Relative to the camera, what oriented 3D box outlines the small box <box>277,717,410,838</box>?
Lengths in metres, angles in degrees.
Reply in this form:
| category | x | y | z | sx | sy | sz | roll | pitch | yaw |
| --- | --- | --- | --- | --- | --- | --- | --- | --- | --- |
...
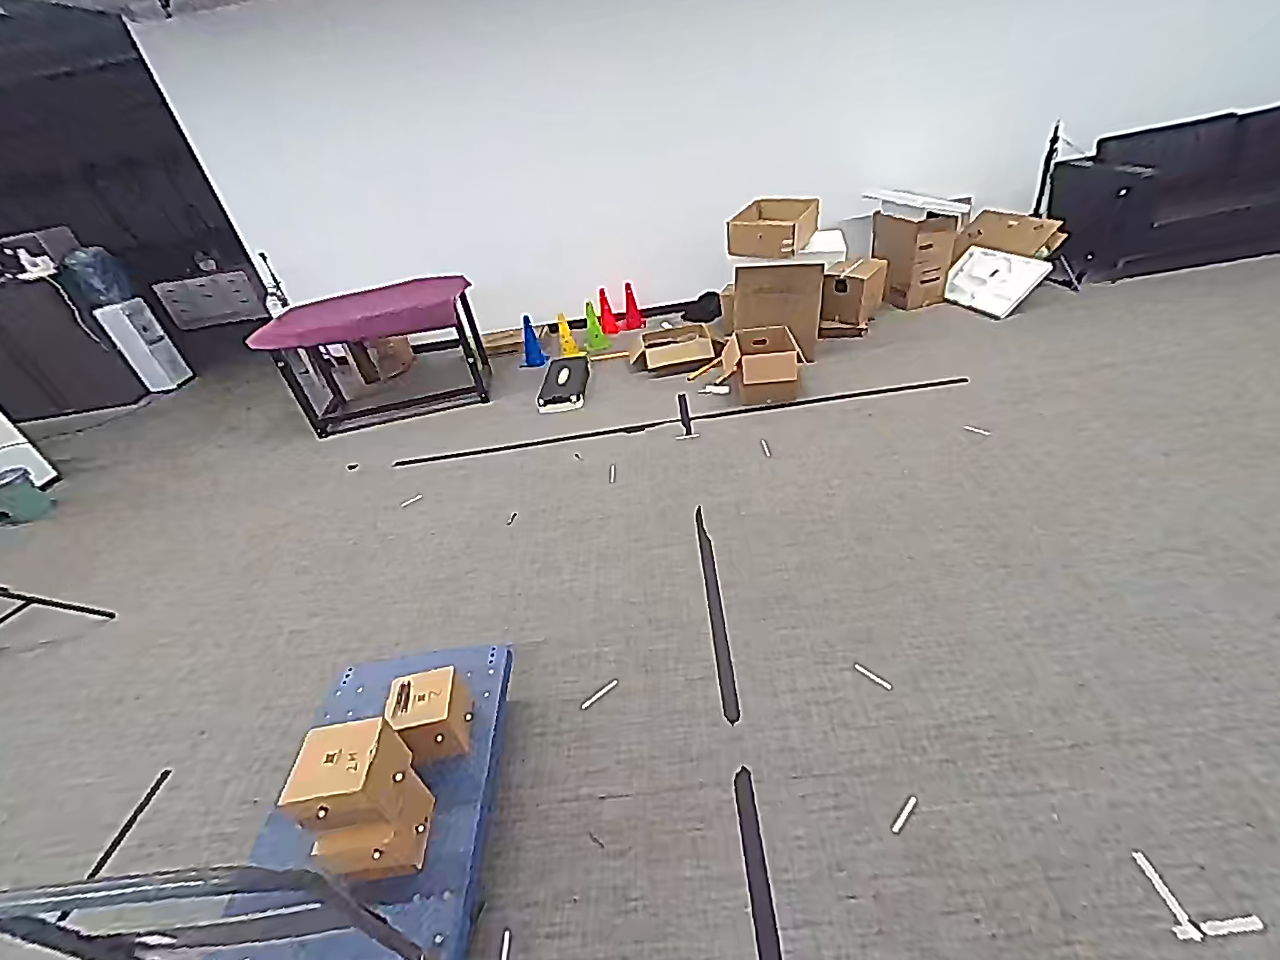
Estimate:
| category | x | y | z | sx | sy | sz | roll | pitch | yaw |
| --- | --- | --- | --- | --- | --- | --- | --- | --- | --- |
| small box | -0.638 | 0.657 | 1.189 | 0.179 | 0.176 | 0.168 | -10 | 34 | 0 |

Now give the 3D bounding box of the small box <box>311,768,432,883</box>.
| category | x | y | z | sx | sy | sz | roll | pitch | yaw |
| --- | --- | --- | --- | --- | --- | --- | --- | --- | --- |
| small box | -0.613 | 0.805 | 1.260 | 0.179 | 0.176 | 0.168 | -10 | 34 | -1 |
